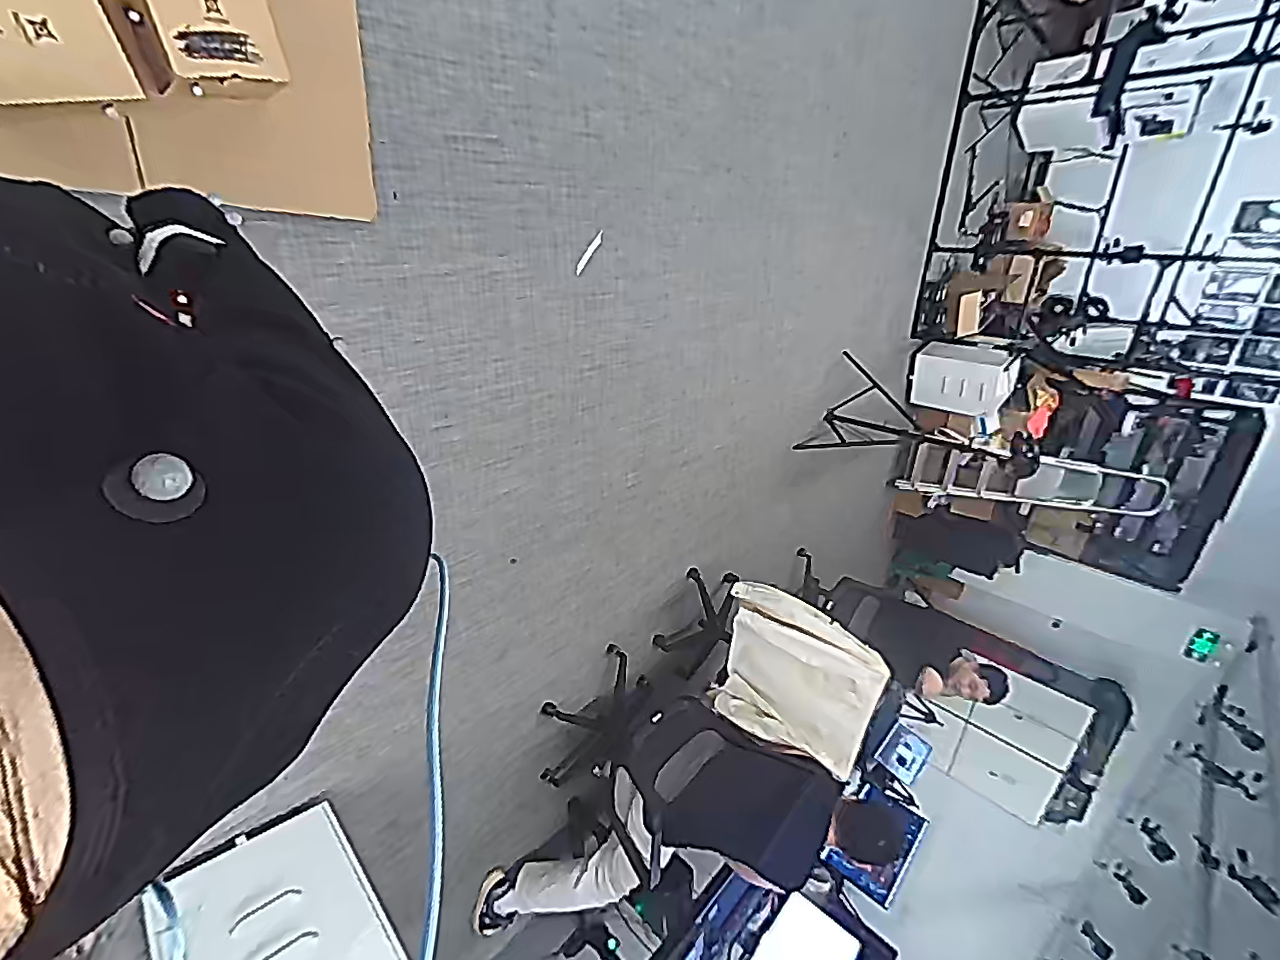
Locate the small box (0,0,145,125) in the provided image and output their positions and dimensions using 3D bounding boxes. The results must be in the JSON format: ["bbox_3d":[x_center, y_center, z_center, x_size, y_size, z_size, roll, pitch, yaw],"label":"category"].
[{"bbox_3d":[-0.872,-0.621,0.774,0.179,0.176,0.168,-34,129,-35],"label":"small box"}]
